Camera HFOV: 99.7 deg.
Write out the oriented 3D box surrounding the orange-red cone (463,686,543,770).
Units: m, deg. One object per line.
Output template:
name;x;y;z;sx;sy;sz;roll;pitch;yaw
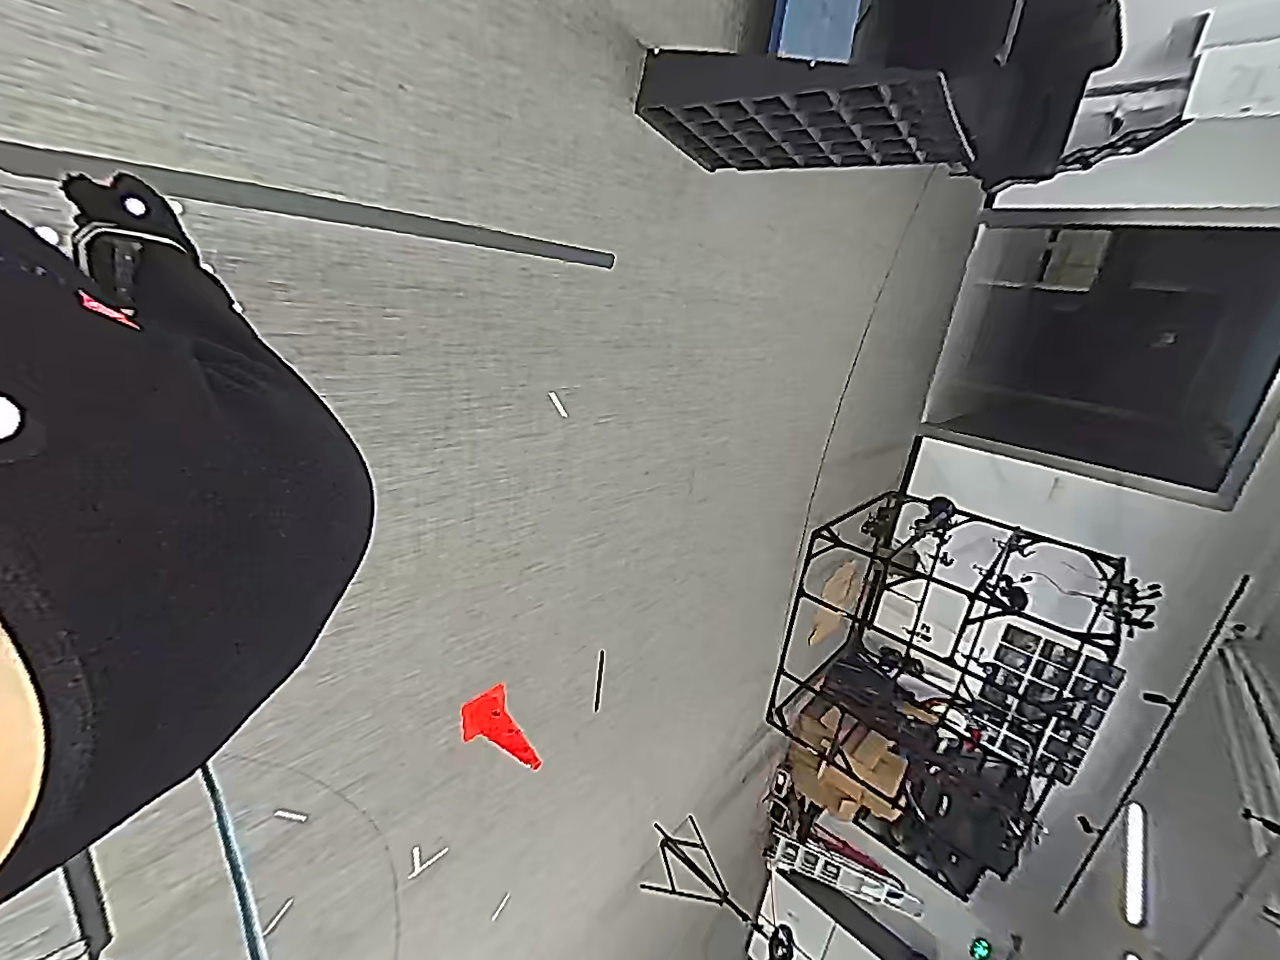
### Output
orange-red cone;-0.504;1.001;2.094;0.198;0.360;0.199;-20;121;-45
